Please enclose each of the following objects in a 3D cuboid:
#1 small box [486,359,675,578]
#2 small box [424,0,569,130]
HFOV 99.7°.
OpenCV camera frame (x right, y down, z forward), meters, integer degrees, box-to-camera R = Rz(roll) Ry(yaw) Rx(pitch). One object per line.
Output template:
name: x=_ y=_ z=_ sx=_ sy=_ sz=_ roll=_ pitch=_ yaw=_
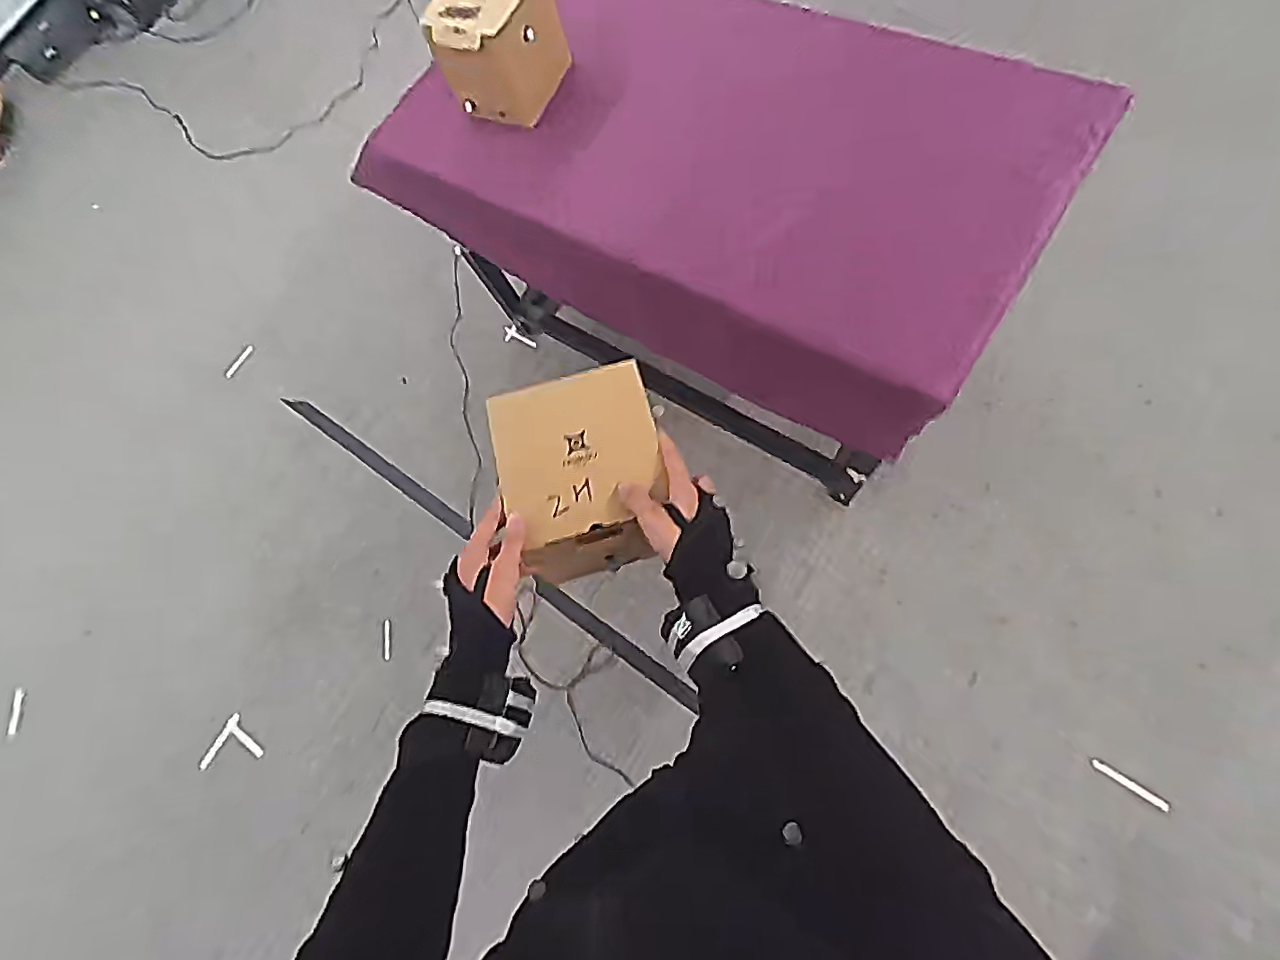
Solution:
small box: x=-0.061 y=-0.004 z=0.621 sx=0.168 sy=0.176 sz=0.179 roll=-16 pitch=68 yaw=-1
small box: x=-0.252 y=-0.793 z=1.001 sx=0.168 sy=0.176 sz=0.179 roll=22 pitch=79 yaw=16
